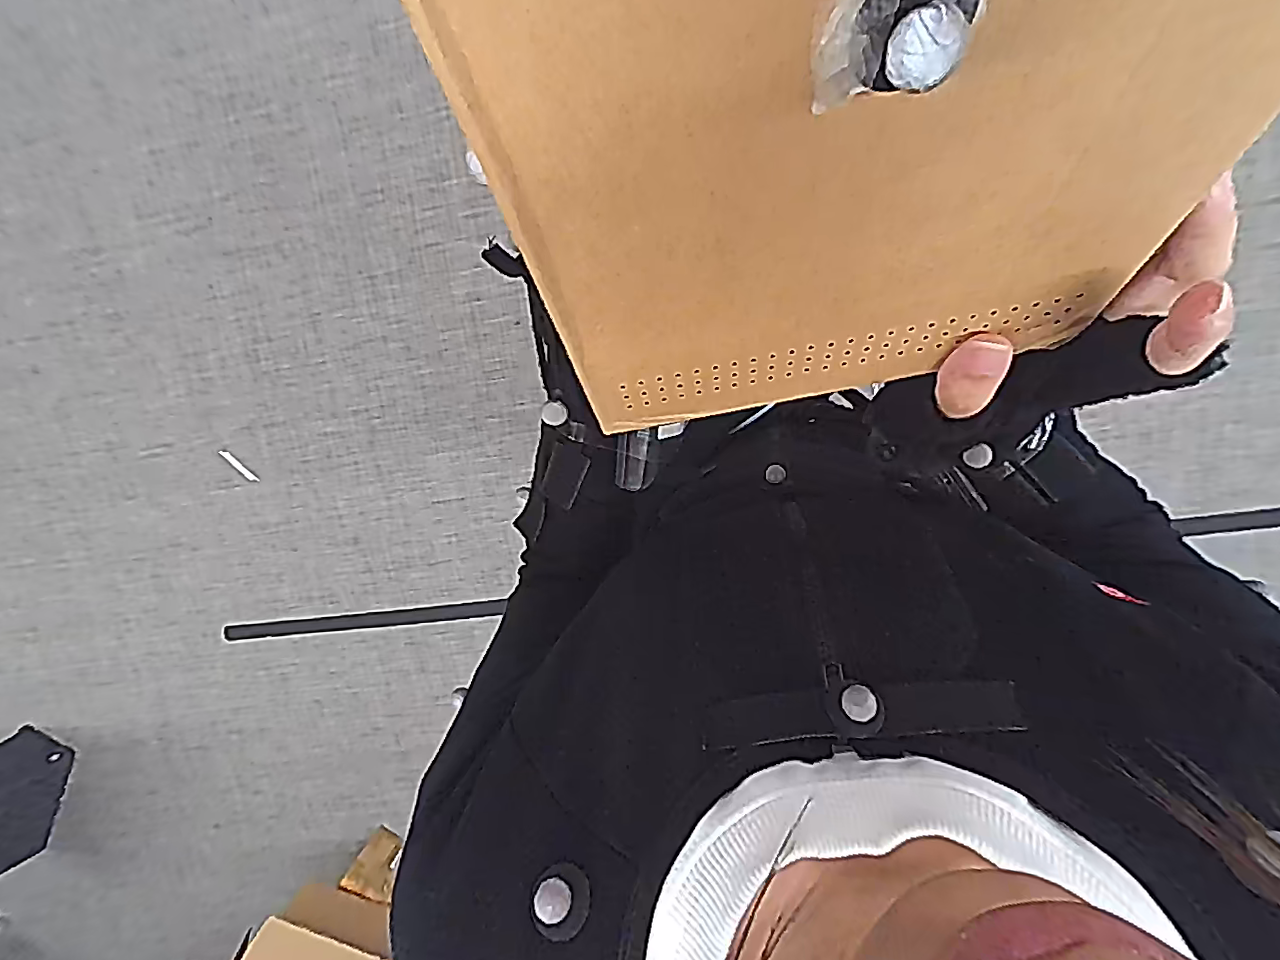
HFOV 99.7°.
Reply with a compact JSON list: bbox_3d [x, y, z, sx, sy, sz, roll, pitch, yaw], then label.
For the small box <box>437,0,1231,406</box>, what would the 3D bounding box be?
[{"bbox_3d":[0.049,-0.143,0.185,0.179,0.176,0.168,-10,66,6],"label":"small box"}]
